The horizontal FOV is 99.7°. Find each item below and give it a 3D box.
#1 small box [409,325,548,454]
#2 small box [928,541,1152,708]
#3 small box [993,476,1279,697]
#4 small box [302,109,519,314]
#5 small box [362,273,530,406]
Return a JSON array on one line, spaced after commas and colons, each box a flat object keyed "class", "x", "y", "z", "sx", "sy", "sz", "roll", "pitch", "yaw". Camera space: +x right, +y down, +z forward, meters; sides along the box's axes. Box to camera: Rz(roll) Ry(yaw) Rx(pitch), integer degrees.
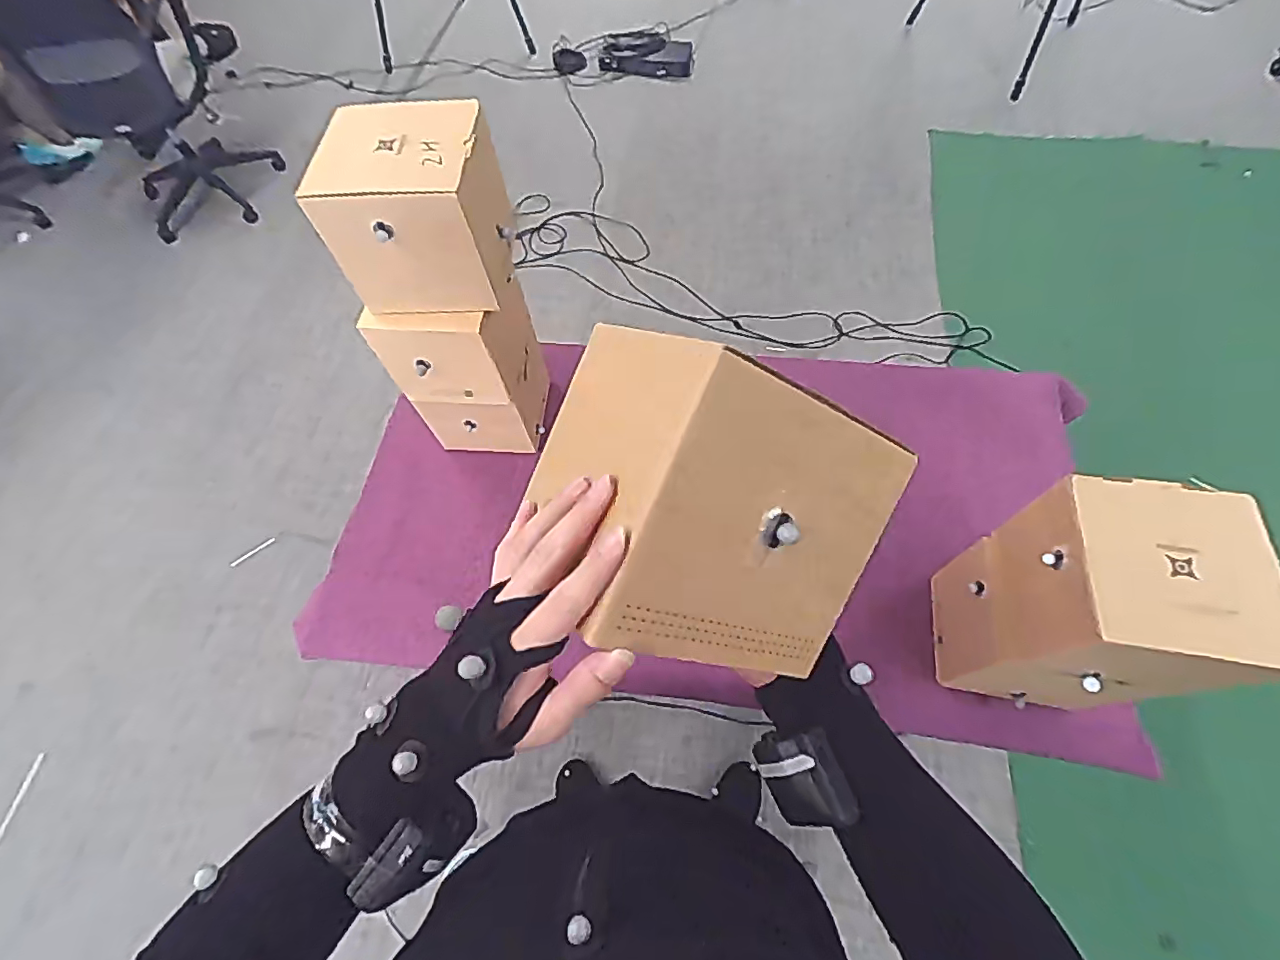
[{"class": "small box", "x": -0.269, "y": -0.157, "z": 0.951, "sx": 0.179, "sy": 0.176, "sz": 0.168, "roll": 2, "pitch": 63, "yaw": 5}, {"class": "small box", "x": 0.515, "y": 0.200, "z": 0.726, "sx": 0.179, "sy": 0.176, "sz": 0.168, "roll": 9, "pitch": 62, "yaw": 8}, {"class": "small box", "x": 0.510, "y": 0.120, "z": 0.583, "sx": 0.168, "sy": 0.176, "sz": 0.179, "roll": 8, "pitch": 63, "yaw": 9}, {"class": "small box", "x": -0.264, "y": -0.323, "z": 0.670, "sx": 0.179, "sy": 0.176, "sz": 0.168, "roll": 0, "pitch": 63, "yaw": 3}, {"class": "small box", "x": -0.272, "y": -0.226, "z": 0.805, "sx": 0.168, "sy": 0.176, "sz": 0.179, "roll": 3, "pitch": 62, "yaw": 4}]
